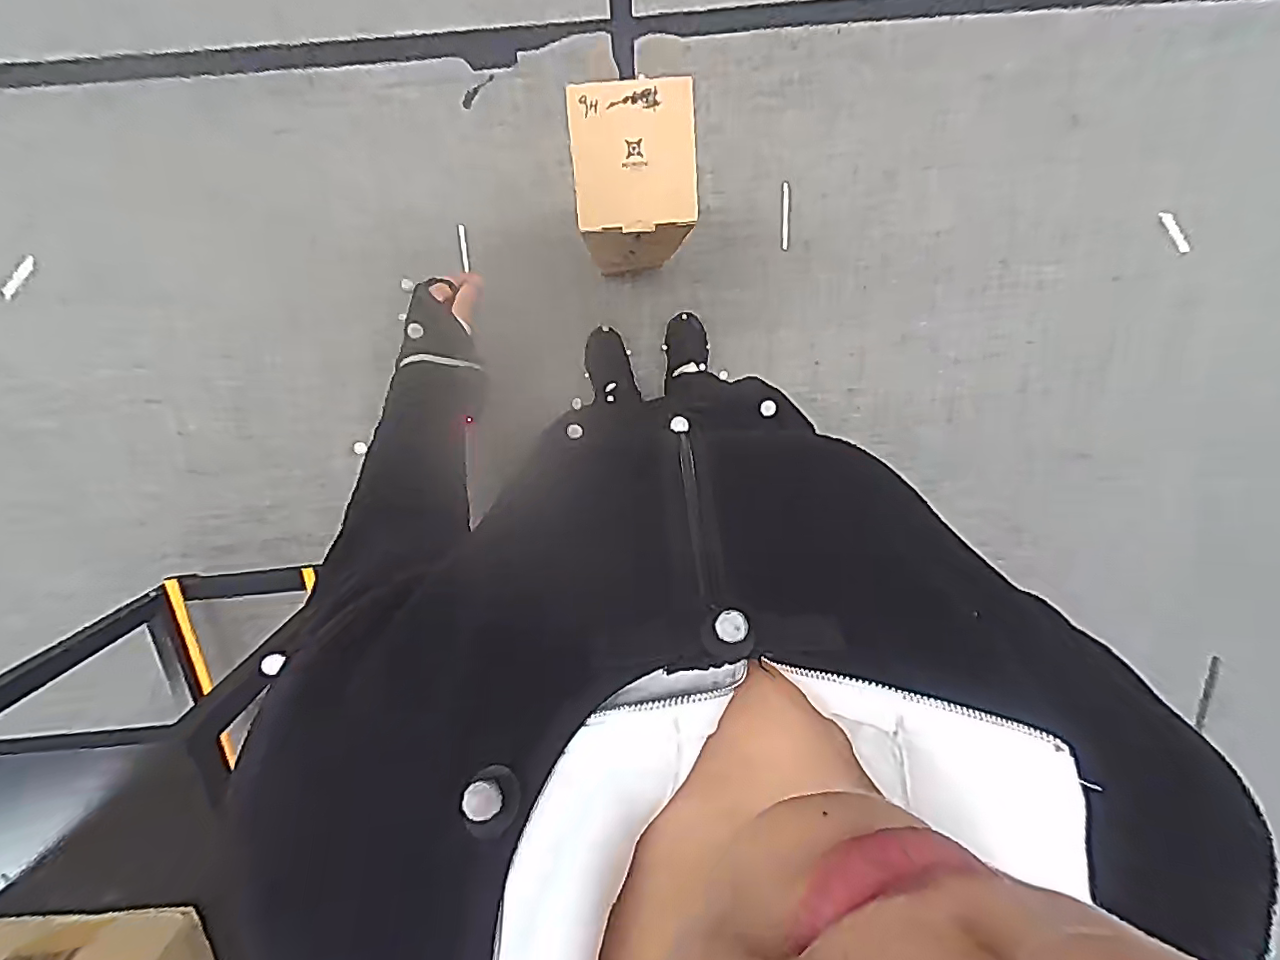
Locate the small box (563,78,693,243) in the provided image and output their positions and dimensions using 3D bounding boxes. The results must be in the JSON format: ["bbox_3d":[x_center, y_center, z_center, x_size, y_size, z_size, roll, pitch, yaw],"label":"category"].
[{"bbox_3d":[-0.013,-0.446,0.785,0.168,0.176,0.179,-4,107,0],"label":"small box"}]

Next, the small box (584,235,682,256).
[{"bbox_3d":[-0.016,-0.495,0.941,0.168,0.176,0.179,-2,107,-1],"label":"small box"}]

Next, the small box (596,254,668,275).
[{"bbox_3d":[-0.031,-0.585,1.258,0.168,0.176,0.179,-9,108,1],"label":"small box"}]

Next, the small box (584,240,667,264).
[{"bbox_3d":[-0.025,-0.539,1.100,0.179,0.176,0.168,-5,107,-1],"label":"small box"}]
